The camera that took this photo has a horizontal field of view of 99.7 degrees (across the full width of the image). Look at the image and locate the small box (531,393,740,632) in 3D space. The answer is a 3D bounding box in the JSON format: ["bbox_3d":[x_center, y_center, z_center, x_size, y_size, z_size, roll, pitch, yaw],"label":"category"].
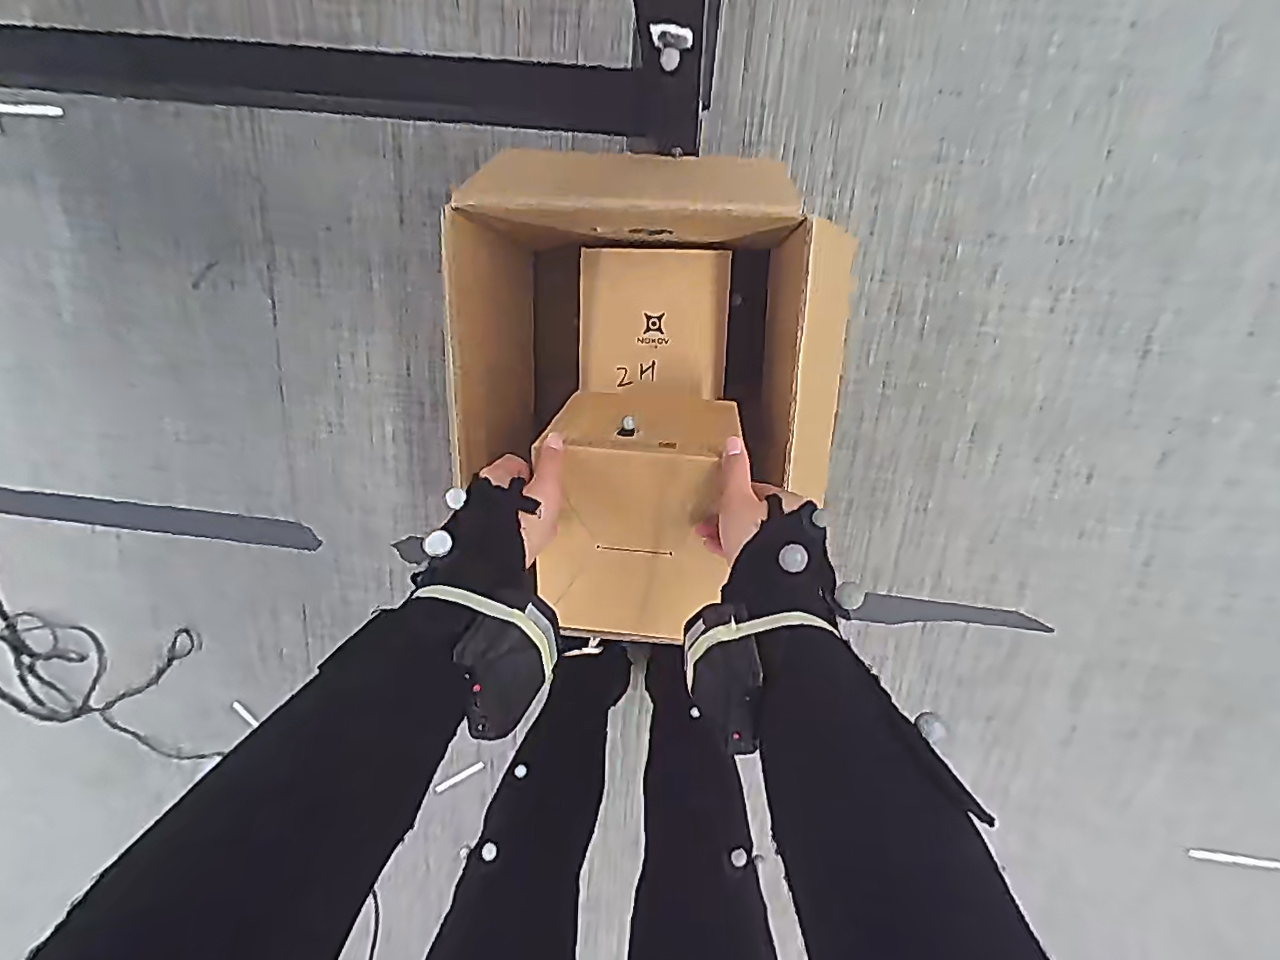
[{"bbox_3d":[0.002,0.027,0.512,0.168,0.176,0.179,4,116,5],"label":"small box"}]
